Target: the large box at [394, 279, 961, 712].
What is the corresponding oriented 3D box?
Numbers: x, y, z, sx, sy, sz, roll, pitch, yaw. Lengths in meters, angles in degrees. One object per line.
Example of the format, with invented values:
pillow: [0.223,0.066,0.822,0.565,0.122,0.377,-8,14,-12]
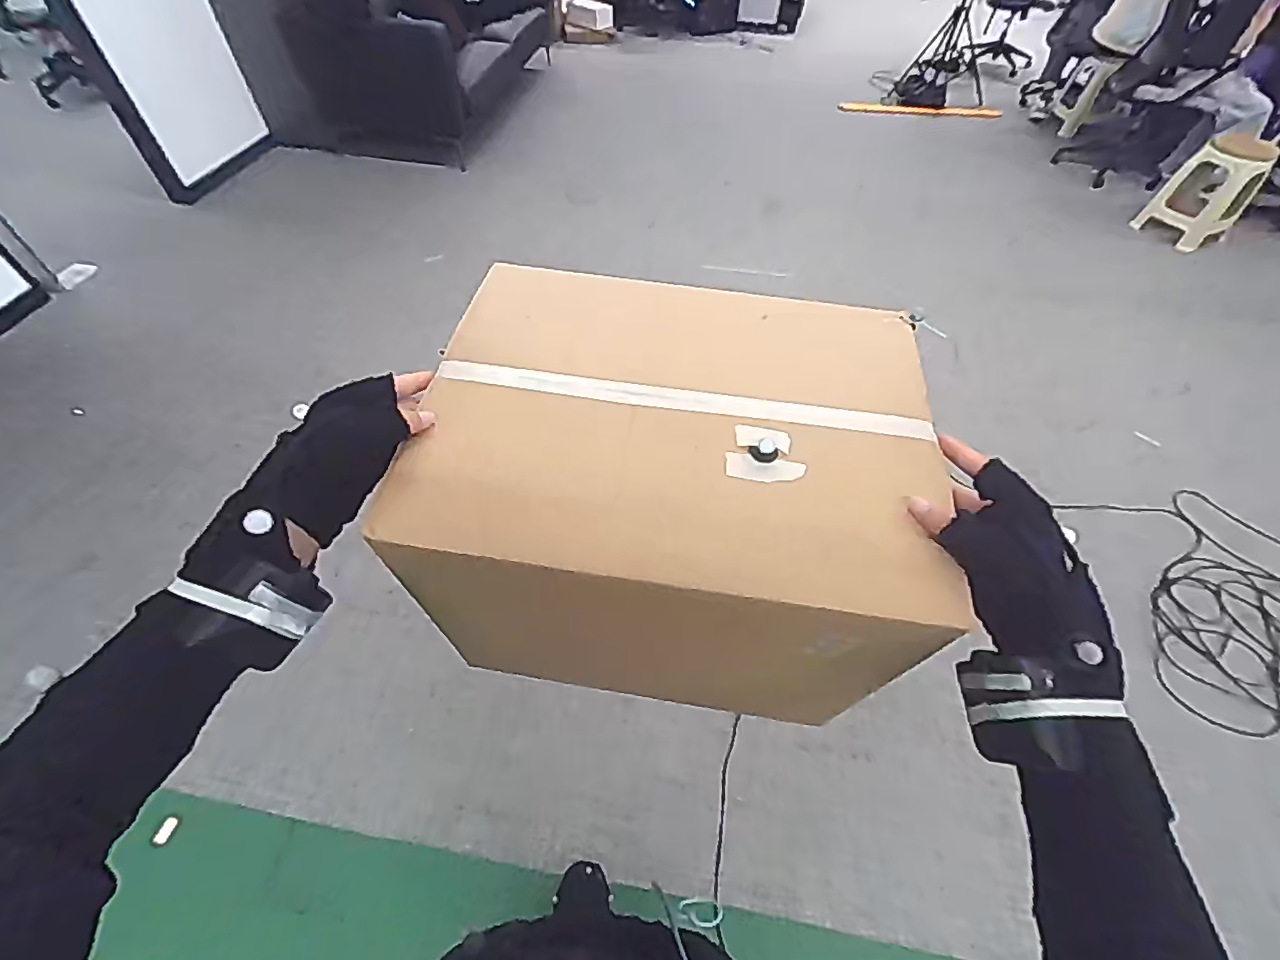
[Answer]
large box: [0.032,0.028,0.576,0.408,0.320,0.320,8,56,2]
